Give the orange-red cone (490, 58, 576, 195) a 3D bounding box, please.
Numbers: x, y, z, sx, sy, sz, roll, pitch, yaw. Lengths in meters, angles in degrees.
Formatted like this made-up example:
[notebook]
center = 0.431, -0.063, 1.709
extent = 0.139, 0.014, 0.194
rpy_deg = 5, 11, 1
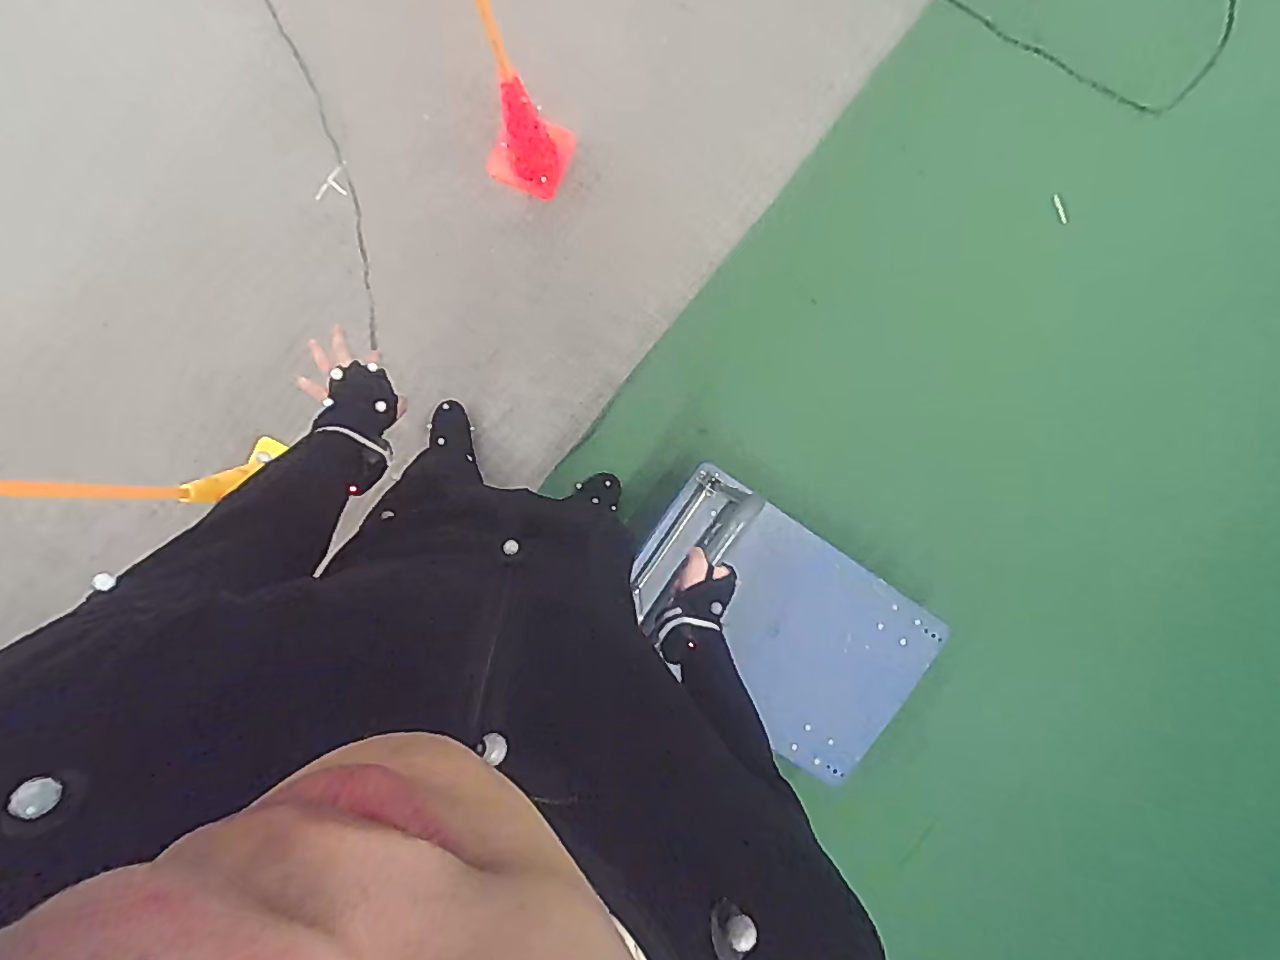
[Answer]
[orange-red cone]
center = -0.288, -0.909, 1.341
extent = 0.198, 0.360, 0.199
rpy_deg = 24, 93, -5
